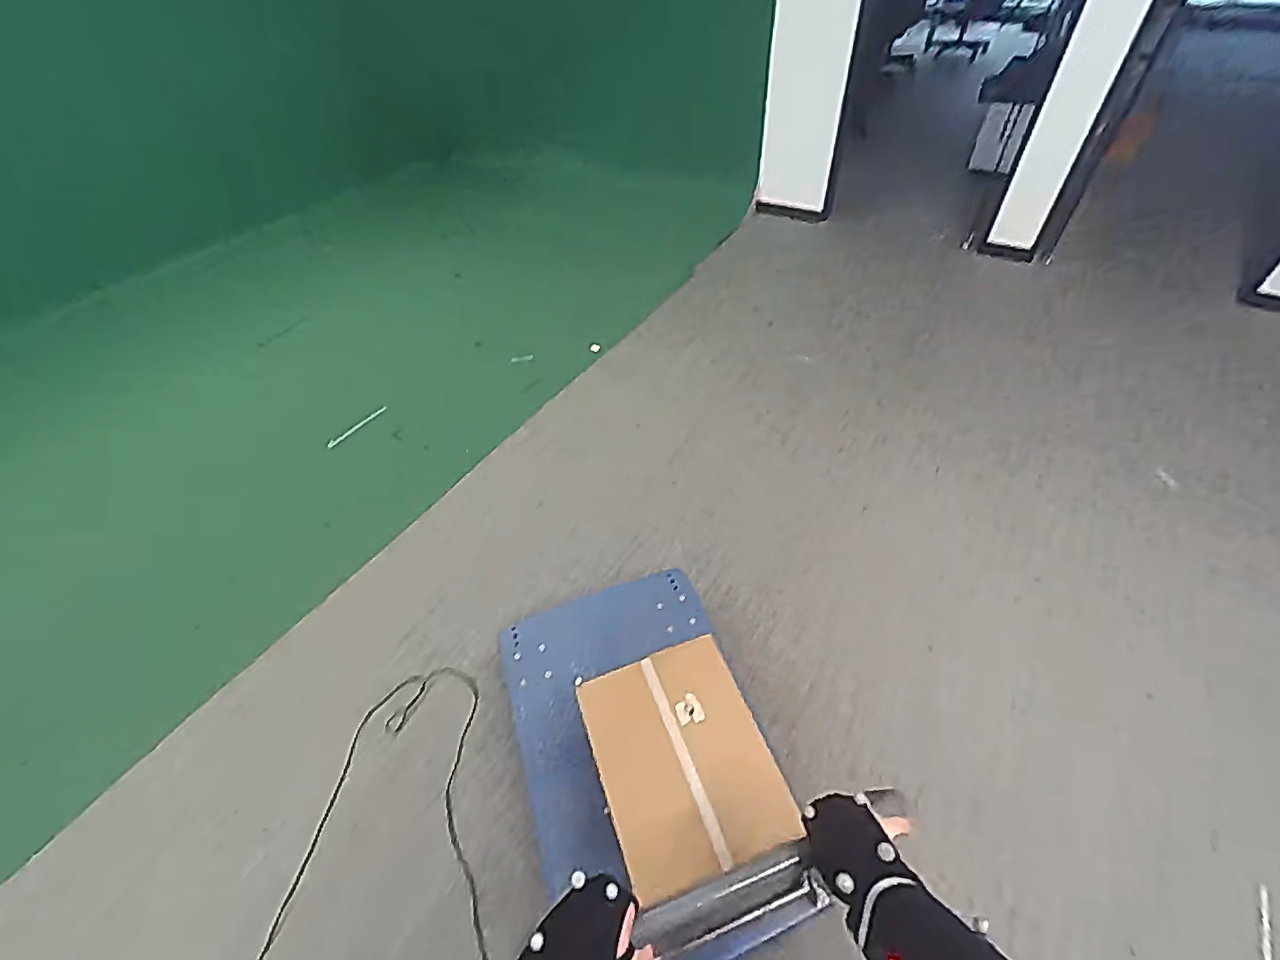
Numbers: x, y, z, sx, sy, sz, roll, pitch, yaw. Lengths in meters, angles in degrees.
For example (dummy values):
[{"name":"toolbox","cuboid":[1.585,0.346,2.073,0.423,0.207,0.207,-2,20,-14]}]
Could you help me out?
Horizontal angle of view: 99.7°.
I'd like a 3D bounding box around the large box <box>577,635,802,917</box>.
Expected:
[{"name":"large box","cuboid":[0.089,0.624,1.161,0.320,0.320,0.408,-18,48,-11]}]
